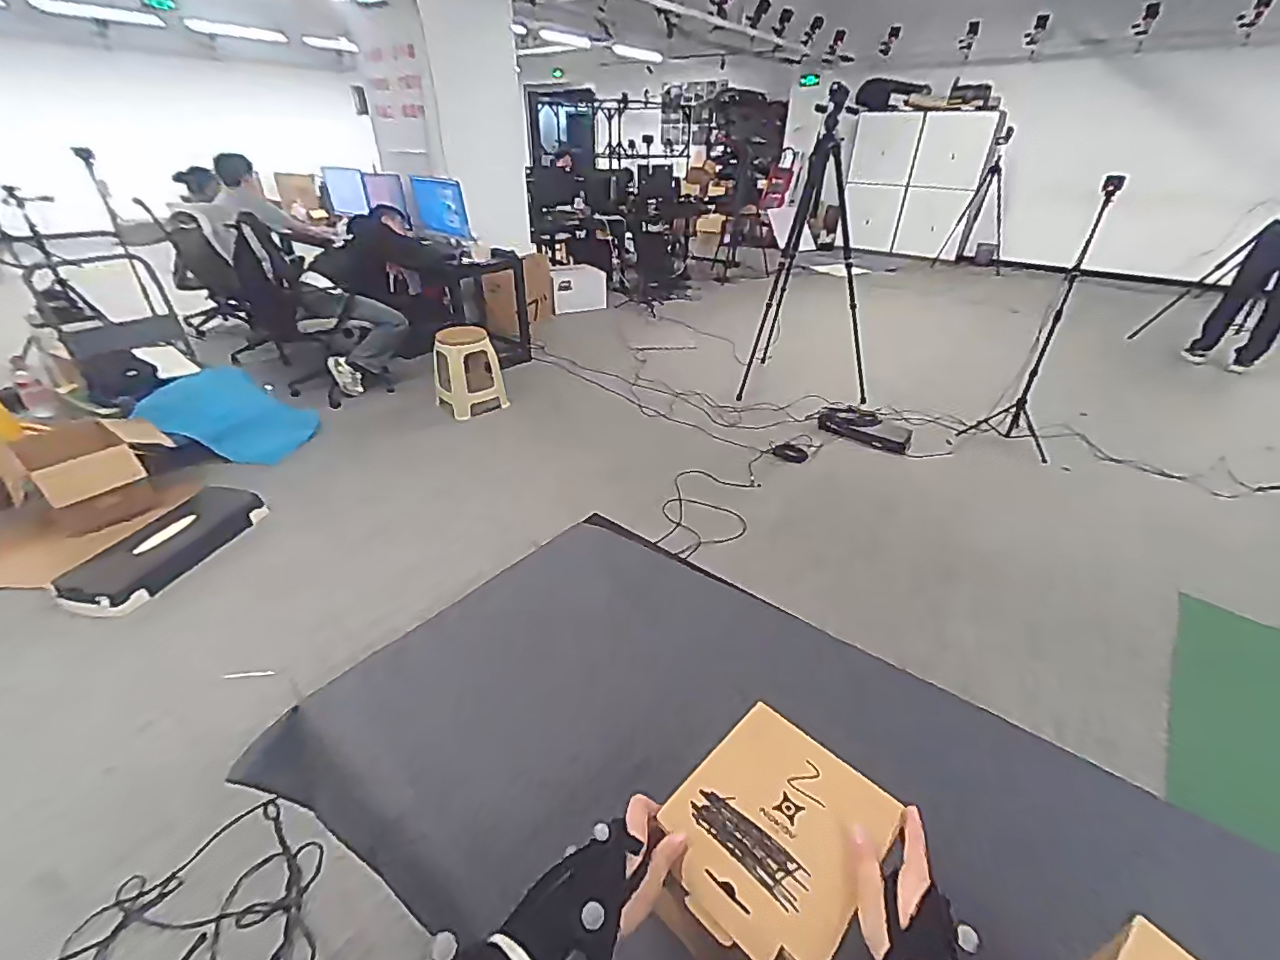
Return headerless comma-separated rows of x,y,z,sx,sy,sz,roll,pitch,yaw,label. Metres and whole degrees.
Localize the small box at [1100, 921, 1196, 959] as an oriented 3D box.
0.386,0.480,0.376,0.168,0.176,0.179,-20,35,-32,small box
